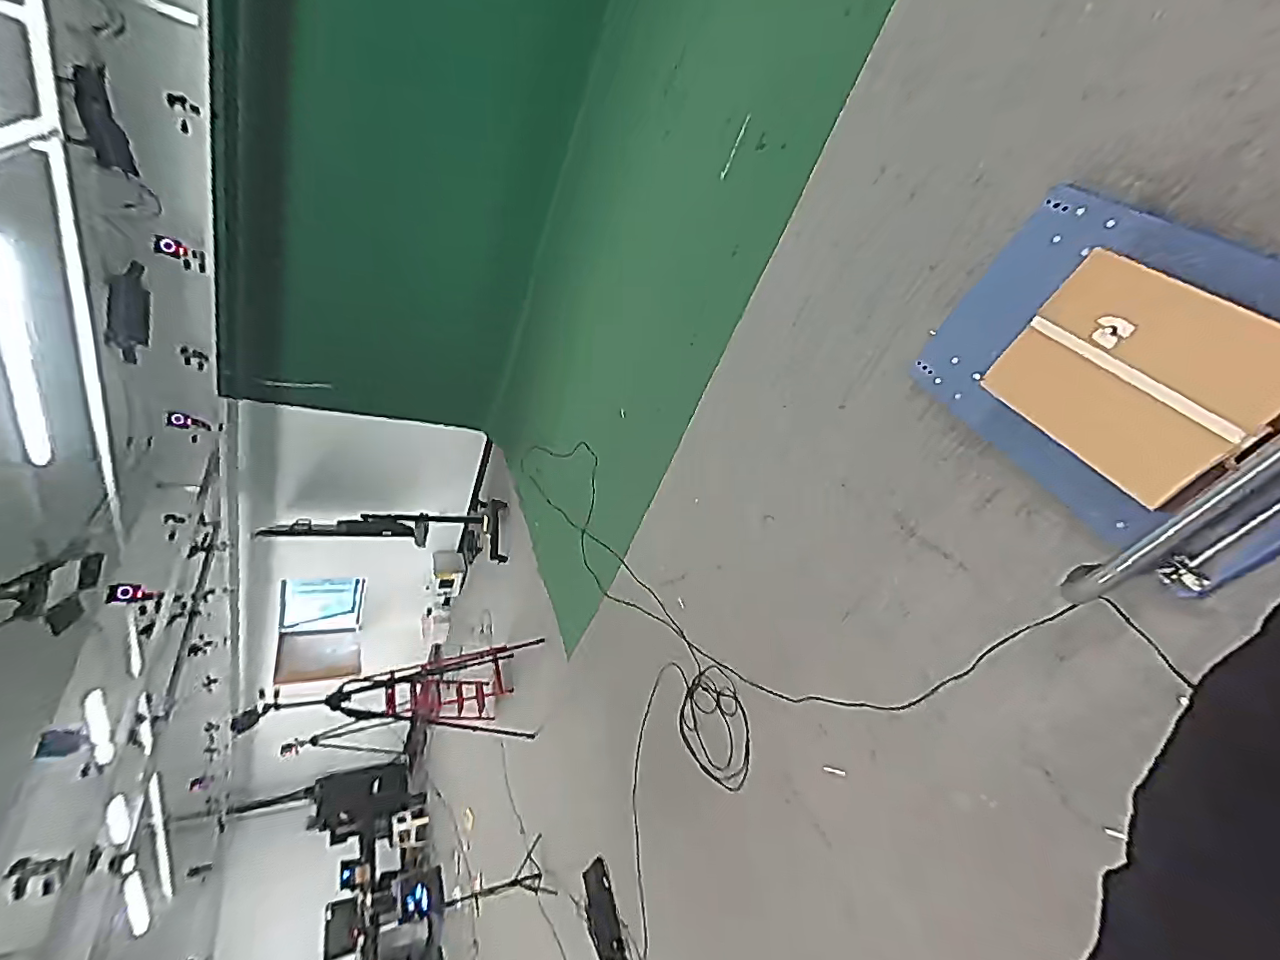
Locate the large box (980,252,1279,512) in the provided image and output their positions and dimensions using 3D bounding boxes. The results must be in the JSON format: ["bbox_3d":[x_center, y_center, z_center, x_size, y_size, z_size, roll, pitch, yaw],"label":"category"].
[{"bbox_3d":[1.004,-0.184,1.055,0.320,0.320,0.408,-61,38,32],"label":"large box"}]
